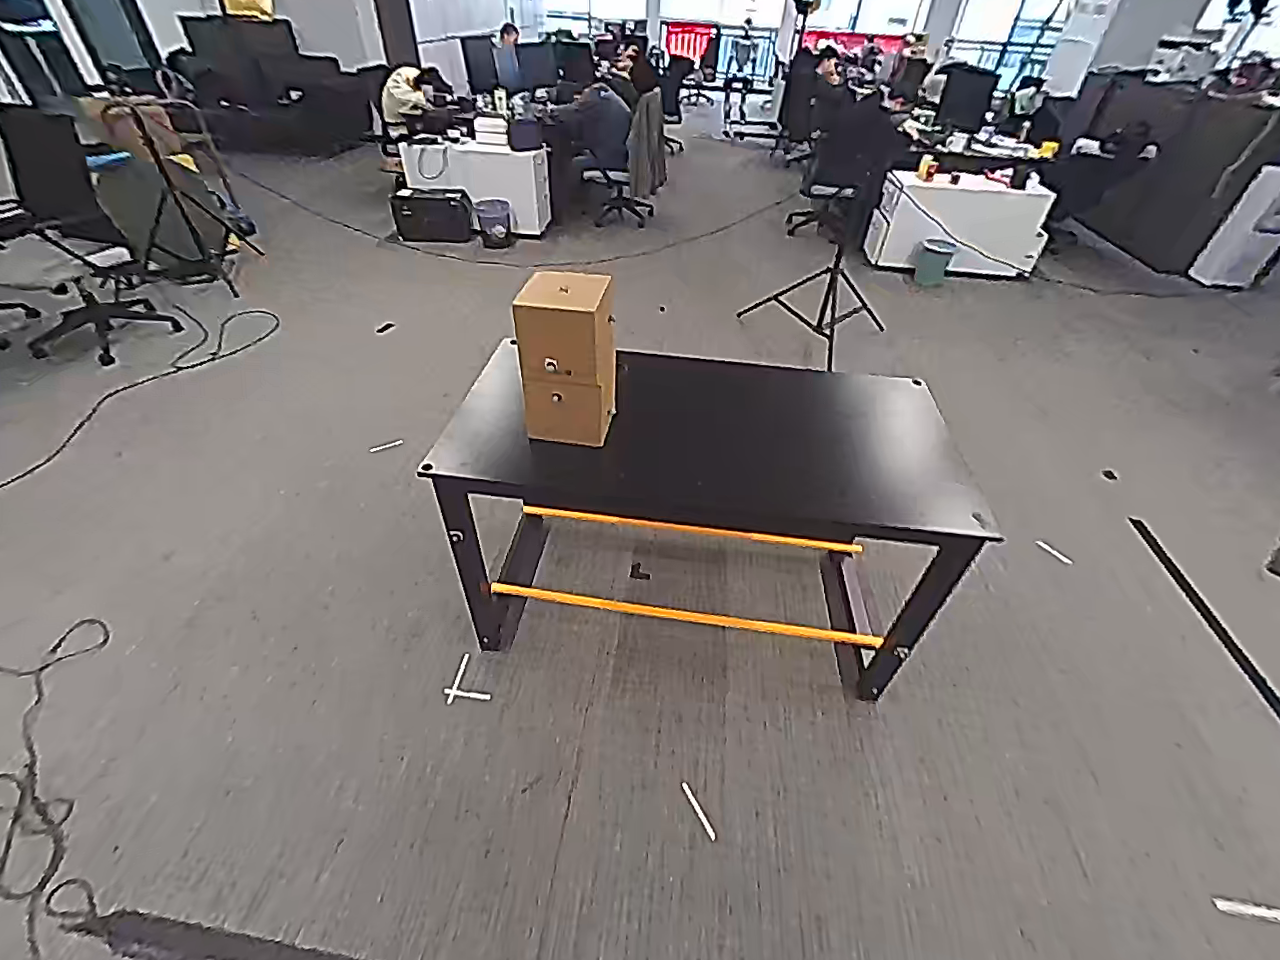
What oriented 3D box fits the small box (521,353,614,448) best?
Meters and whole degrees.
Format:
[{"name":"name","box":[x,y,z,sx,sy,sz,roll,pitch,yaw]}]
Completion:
[{"name":"small box","box":[-0.160,-0.191,1.253,0.179,0.176,0.168,8,42,4]}]

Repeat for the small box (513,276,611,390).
[{"name":"small box","box":[-0.157,-0.312,1.145,0.168,0.176,0.179,5,43,5]}]
